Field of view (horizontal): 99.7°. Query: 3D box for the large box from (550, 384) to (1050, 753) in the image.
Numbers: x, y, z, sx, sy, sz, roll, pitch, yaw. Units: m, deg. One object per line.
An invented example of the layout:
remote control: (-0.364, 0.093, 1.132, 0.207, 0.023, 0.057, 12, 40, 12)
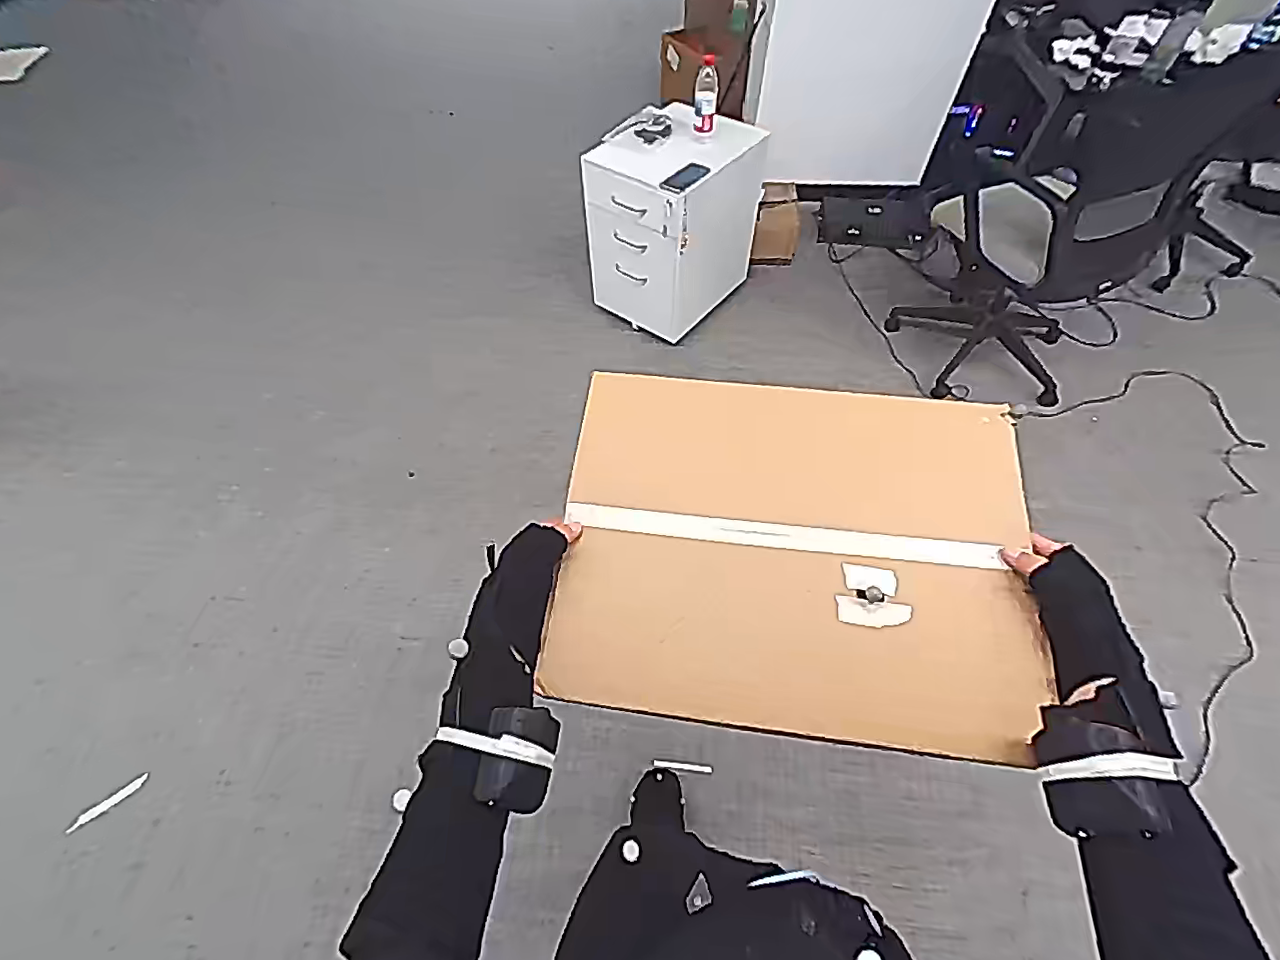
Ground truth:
large box: (0.141, 0.113, 0.624, 0.408, 0.320, 0.320, 6, 68, 5)
